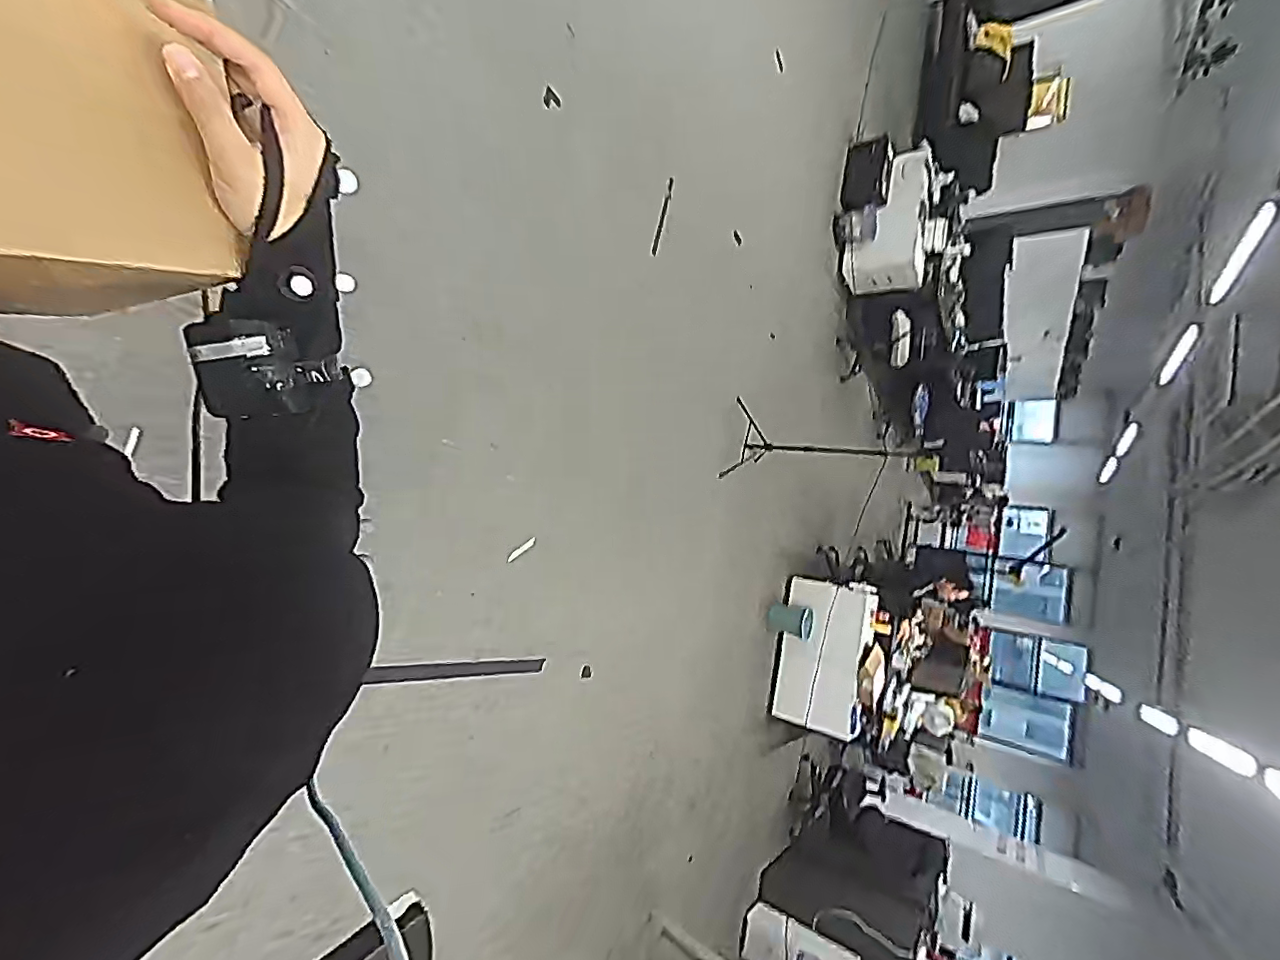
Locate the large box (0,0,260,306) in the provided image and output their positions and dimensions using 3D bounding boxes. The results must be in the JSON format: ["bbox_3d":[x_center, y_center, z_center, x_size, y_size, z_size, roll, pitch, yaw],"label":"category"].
[{"bbox_3d":[-0.478,-0.255,0.225,0.408,0.320,0.320,-21,114,-57],"label":"large box"}]
